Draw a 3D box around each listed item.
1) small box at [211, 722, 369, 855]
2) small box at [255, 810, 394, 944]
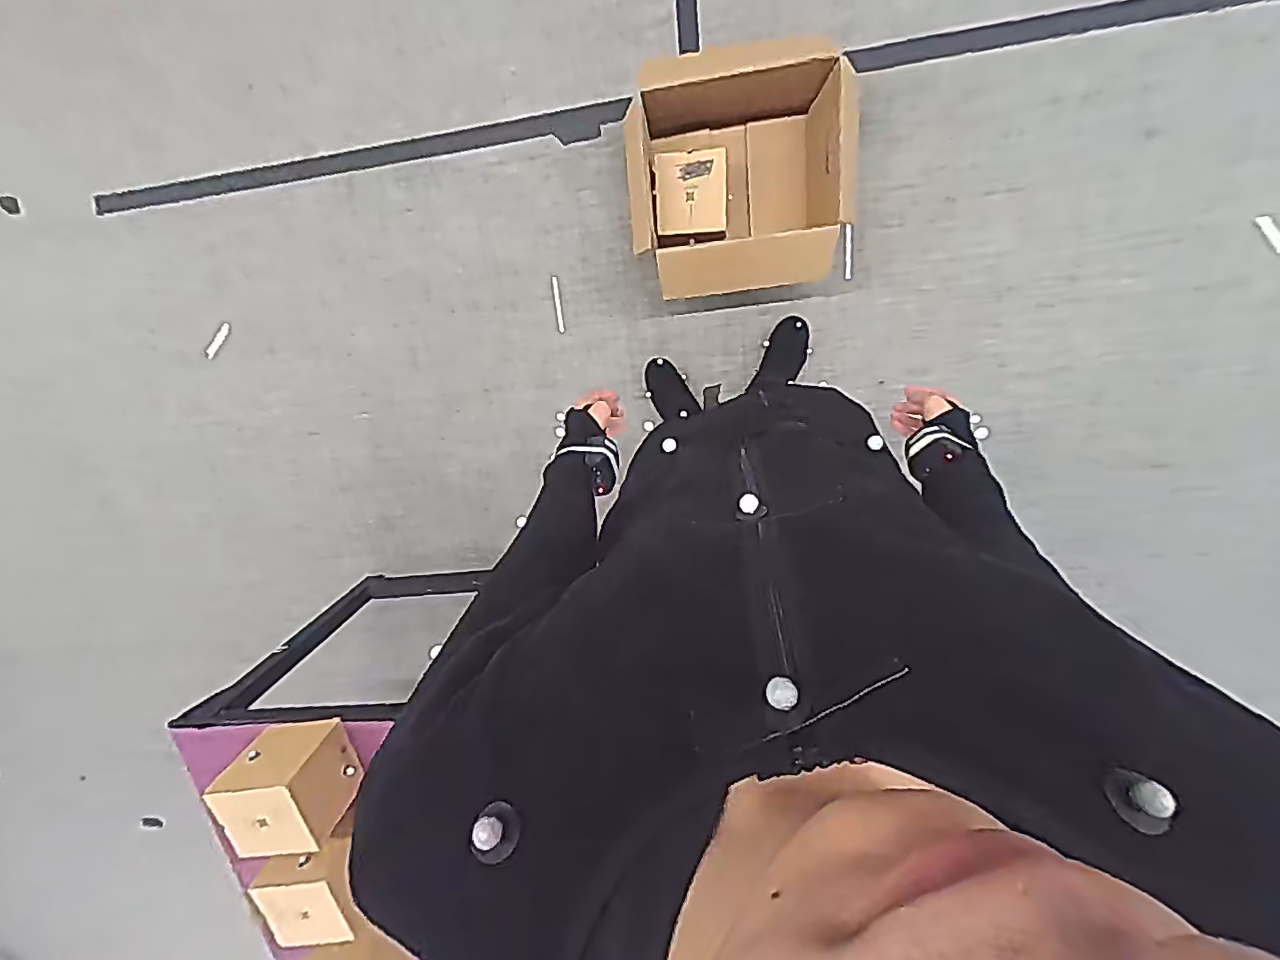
[{"bbox_3d":[-0.691,0.614,1.088,0.179,0.176,0.168,-9,108,9],"label":"small box"},{"bbox_3d":[-0.657,0.841,1.157,0.179,0.176,0.168,-11,106,9],"label":"small box"}]
